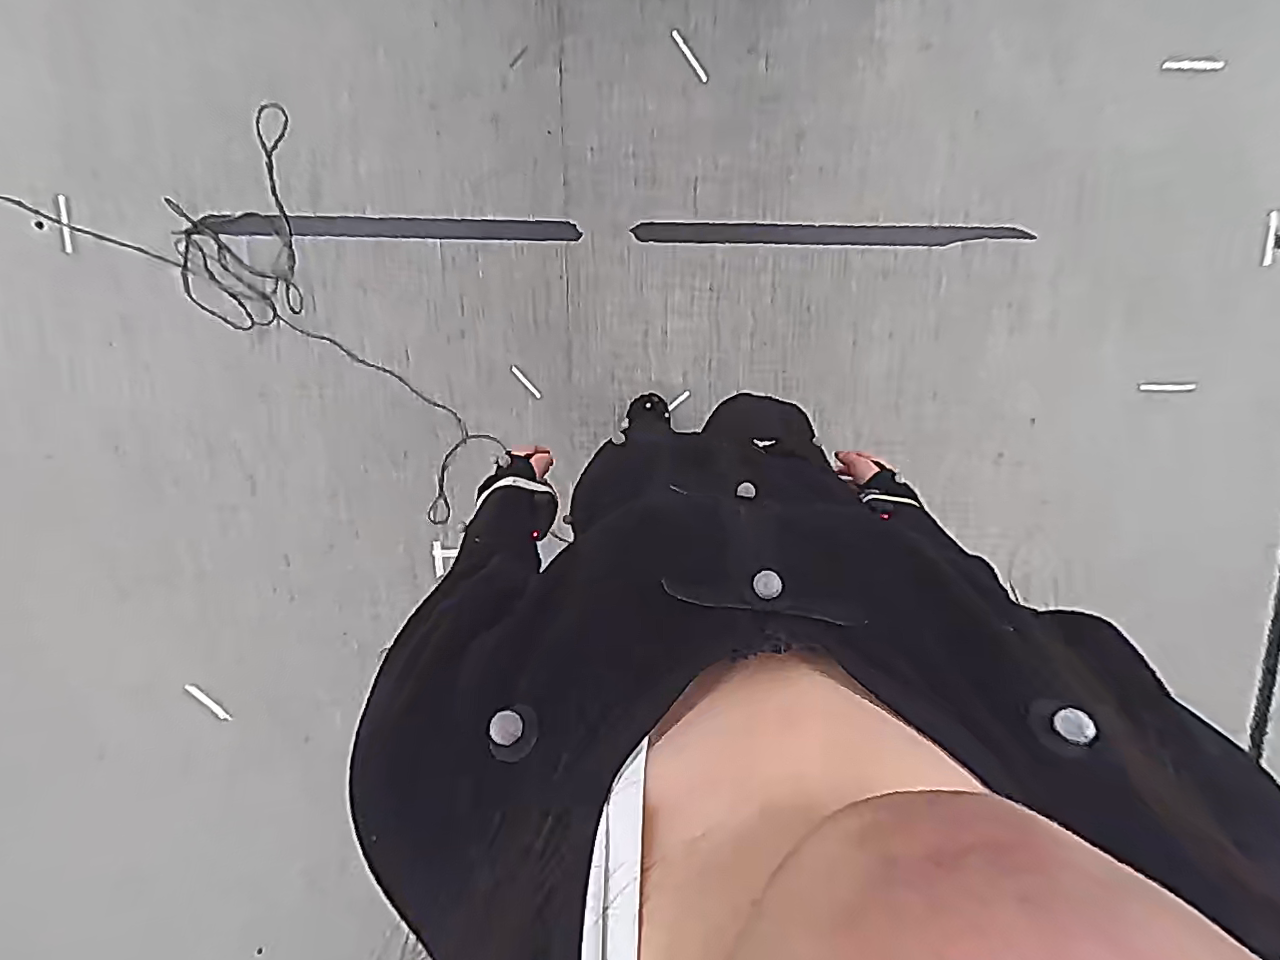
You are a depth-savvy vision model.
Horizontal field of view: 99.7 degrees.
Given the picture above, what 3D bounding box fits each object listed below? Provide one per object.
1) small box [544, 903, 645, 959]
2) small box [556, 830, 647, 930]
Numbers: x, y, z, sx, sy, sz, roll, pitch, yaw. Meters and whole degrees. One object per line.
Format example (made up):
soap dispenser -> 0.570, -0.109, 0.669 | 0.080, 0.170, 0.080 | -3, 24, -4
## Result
small box -> -0.077, 0.841, 0.890 | 0.168, 0.176, 0.179 | 2, 99, -2
small box -> -0.078, 0.820, 1.052 | 0.168, 0.176, 0.179 | 5, 98, -2
